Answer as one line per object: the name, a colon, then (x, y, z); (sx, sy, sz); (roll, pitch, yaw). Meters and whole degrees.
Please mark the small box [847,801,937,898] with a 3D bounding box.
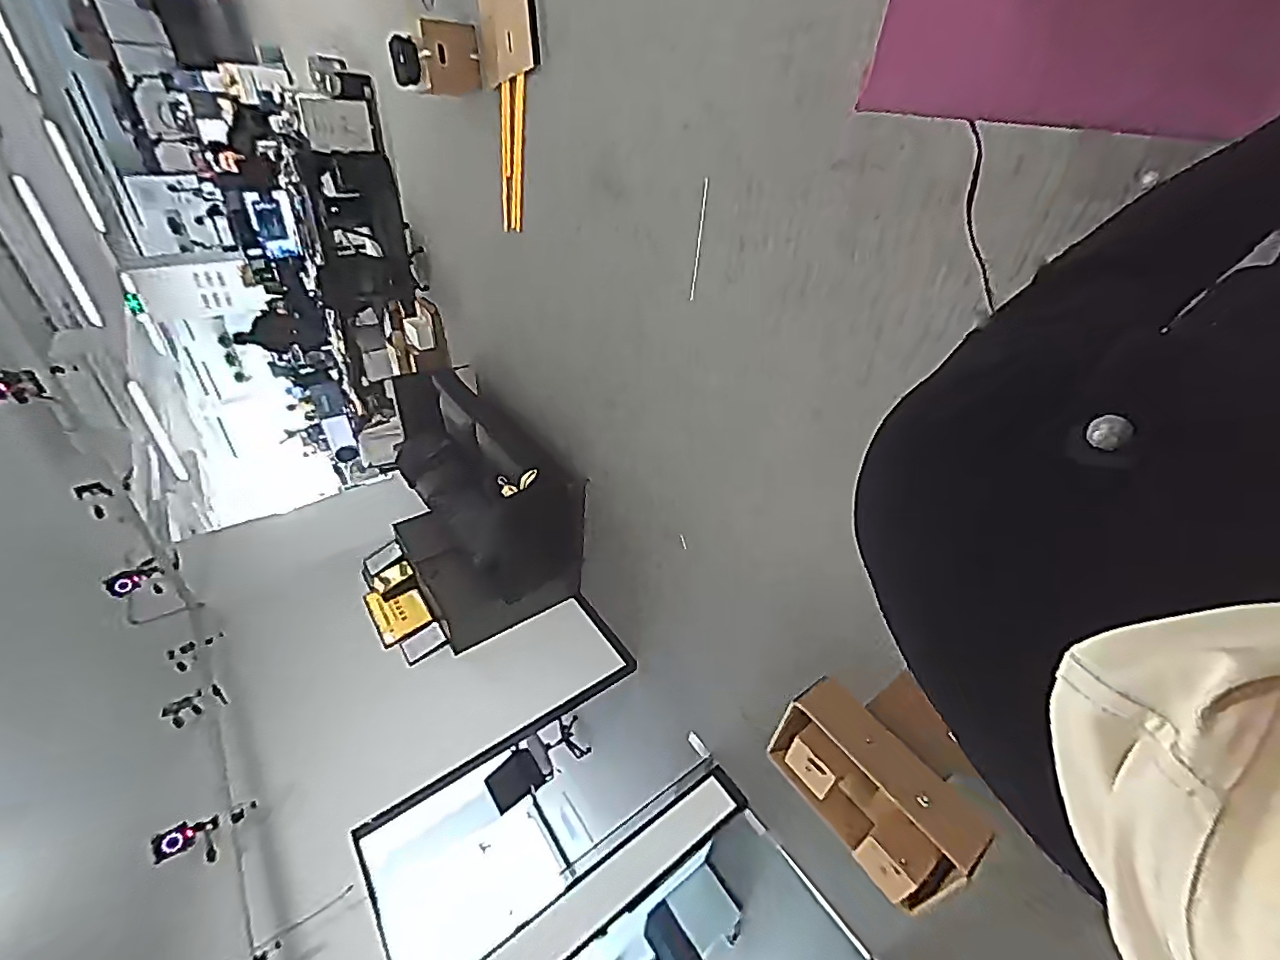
small box: (0.795, 1.161, 1.705); (0.168, 0.176, 0.179); (43, 141, 35)
